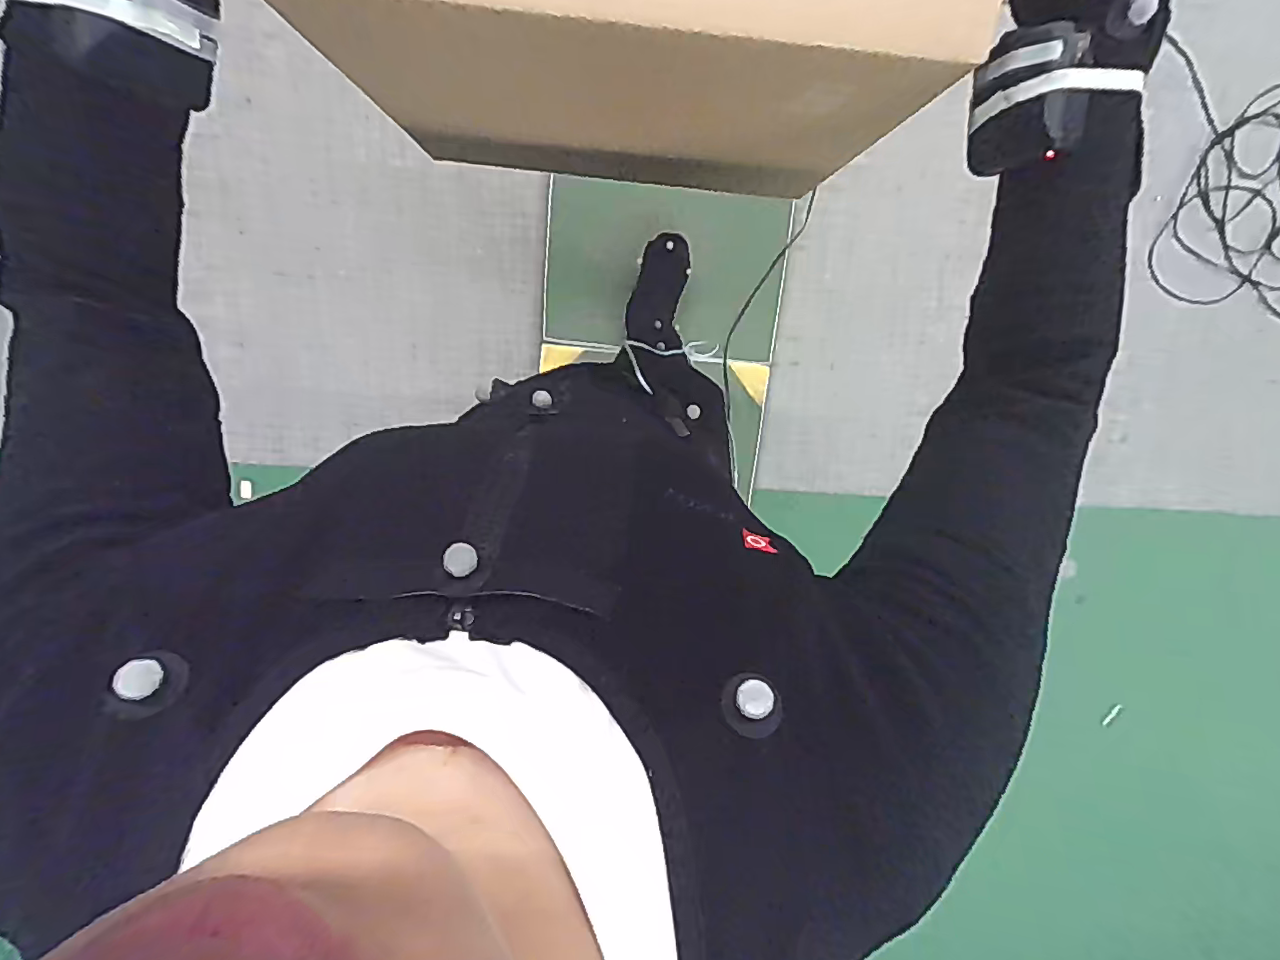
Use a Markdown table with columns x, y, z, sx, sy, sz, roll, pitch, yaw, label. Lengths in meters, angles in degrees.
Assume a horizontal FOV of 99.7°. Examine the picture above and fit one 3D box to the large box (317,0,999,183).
| x | y | z | sx | sy | sz | roll | pitch | yaw | label |
| --- | --- | --- | --- | --- | --- | --- | --- | --- | --- |
| 0.004 | -0.445 | 0.402 | 0.408 | 0.320 | 0.320 | 3 | 105 | -5 | large box |
